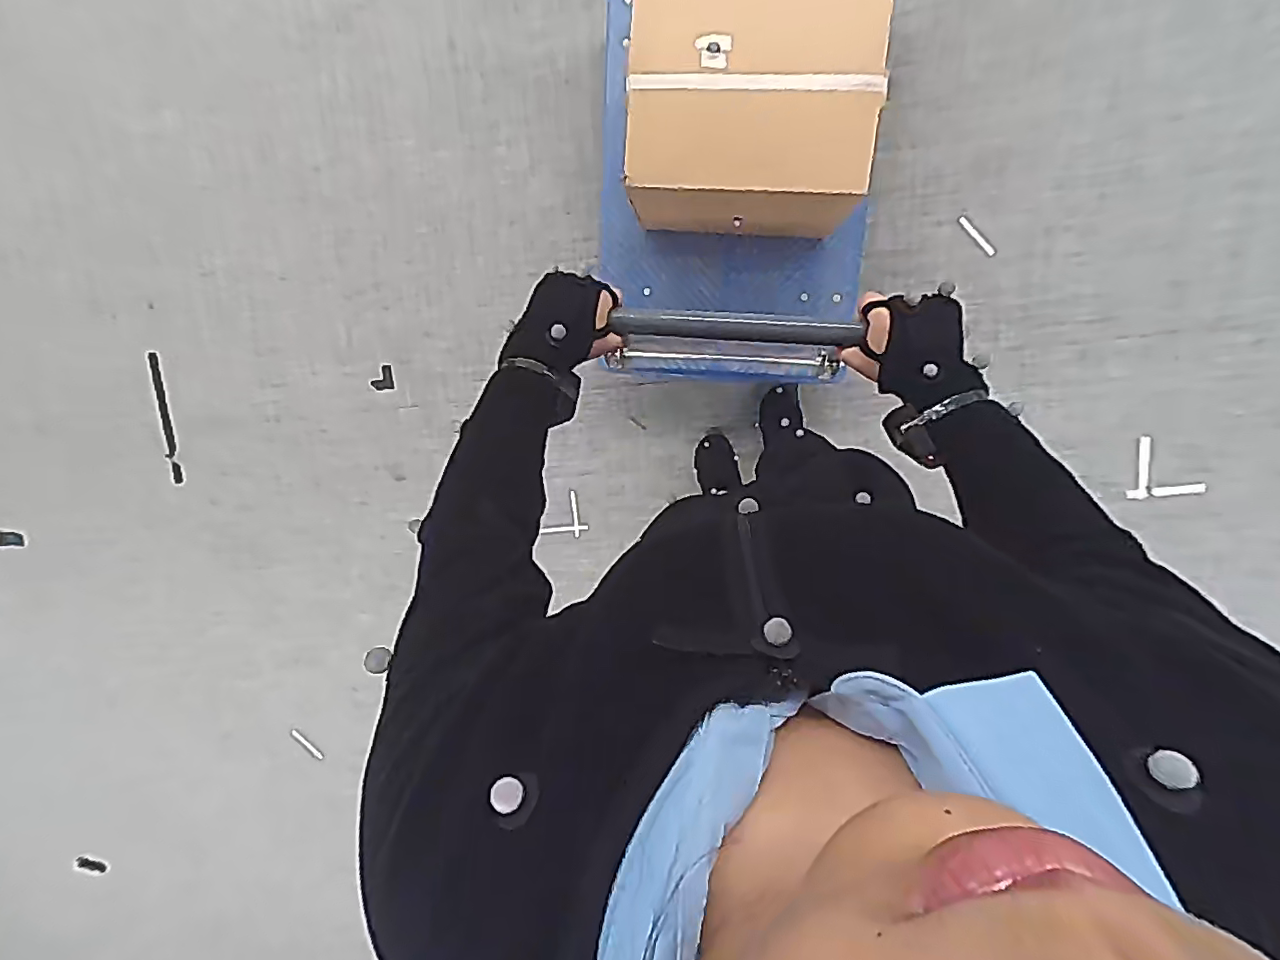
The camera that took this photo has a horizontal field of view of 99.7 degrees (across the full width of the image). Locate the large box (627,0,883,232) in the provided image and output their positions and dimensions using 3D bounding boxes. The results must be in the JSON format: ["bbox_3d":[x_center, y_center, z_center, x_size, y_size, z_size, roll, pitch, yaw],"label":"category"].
[{"bbox_3d":[0.201,-0.675,1.036,0.408,0.320,0.320,5,101,7],"label":"large box"}]
